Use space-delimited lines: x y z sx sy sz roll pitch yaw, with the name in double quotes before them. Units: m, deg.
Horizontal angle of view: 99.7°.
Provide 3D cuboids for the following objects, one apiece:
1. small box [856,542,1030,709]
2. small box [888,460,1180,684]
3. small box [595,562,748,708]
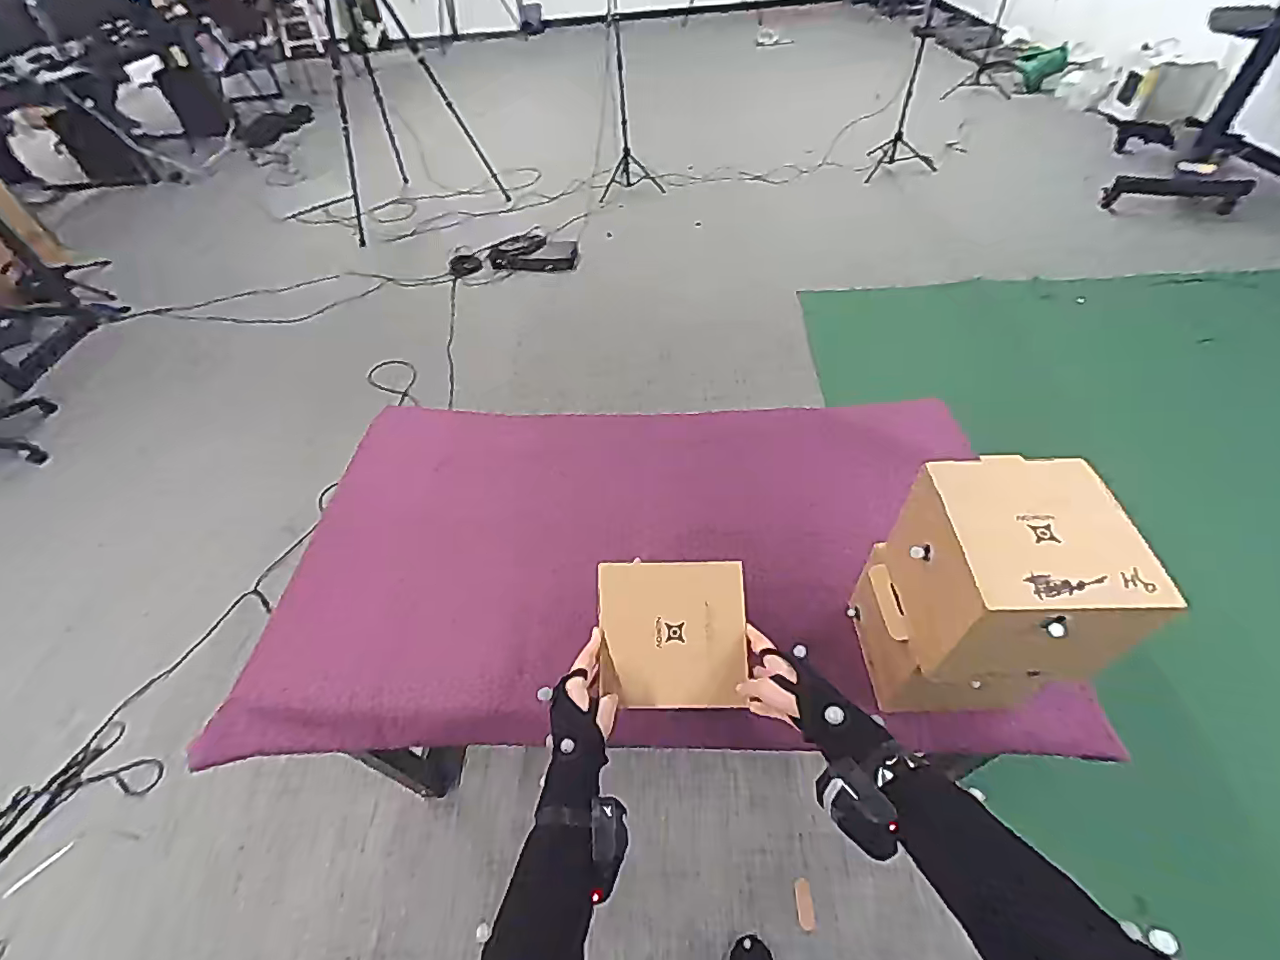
"small box" 0.400 0.193 0.714 0.179 0.176 0.168 -3 49 3
"small box" 0.386 0.099 0.579 0.168 0.176 0.179 -2 48 5
"small box" 0.042 0.200 0.710 0.179 0.176 0.168 -1 75 3
